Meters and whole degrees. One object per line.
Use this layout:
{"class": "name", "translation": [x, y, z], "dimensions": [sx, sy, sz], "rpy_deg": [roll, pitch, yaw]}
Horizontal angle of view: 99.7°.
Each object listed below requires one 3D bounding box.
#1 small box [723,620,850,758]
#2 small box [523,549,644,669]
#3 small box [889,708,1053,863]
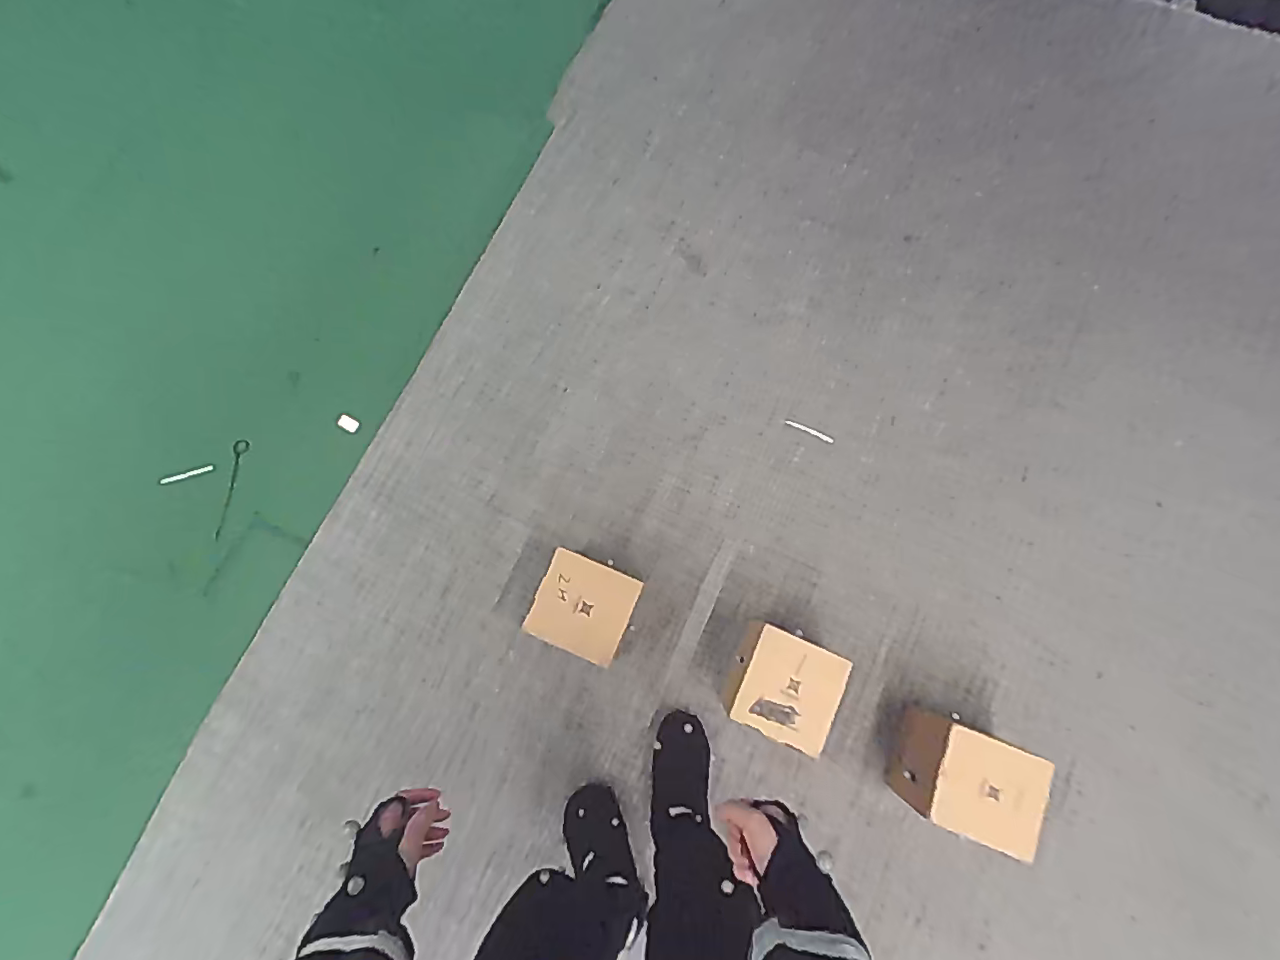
{"class": "small box", "translation": [0.263, 0.379, 1.017], "dimensions": [0.168, 0.176, 0.179], "rpy_deg": [24, 81, 7]}
{"class": "small box", "translation": [-0.099, 0.246, 1.060], "dimensions": [0.179, 0.176, 0.168], "rpy_deg": [23, 80, 7]}
{"class": "small box", "translation": [0.580, 0.531, 0.972], "dimensions": [0.179, 0.176, 0.168], "rpy_deg": [21, 81, 6]}
